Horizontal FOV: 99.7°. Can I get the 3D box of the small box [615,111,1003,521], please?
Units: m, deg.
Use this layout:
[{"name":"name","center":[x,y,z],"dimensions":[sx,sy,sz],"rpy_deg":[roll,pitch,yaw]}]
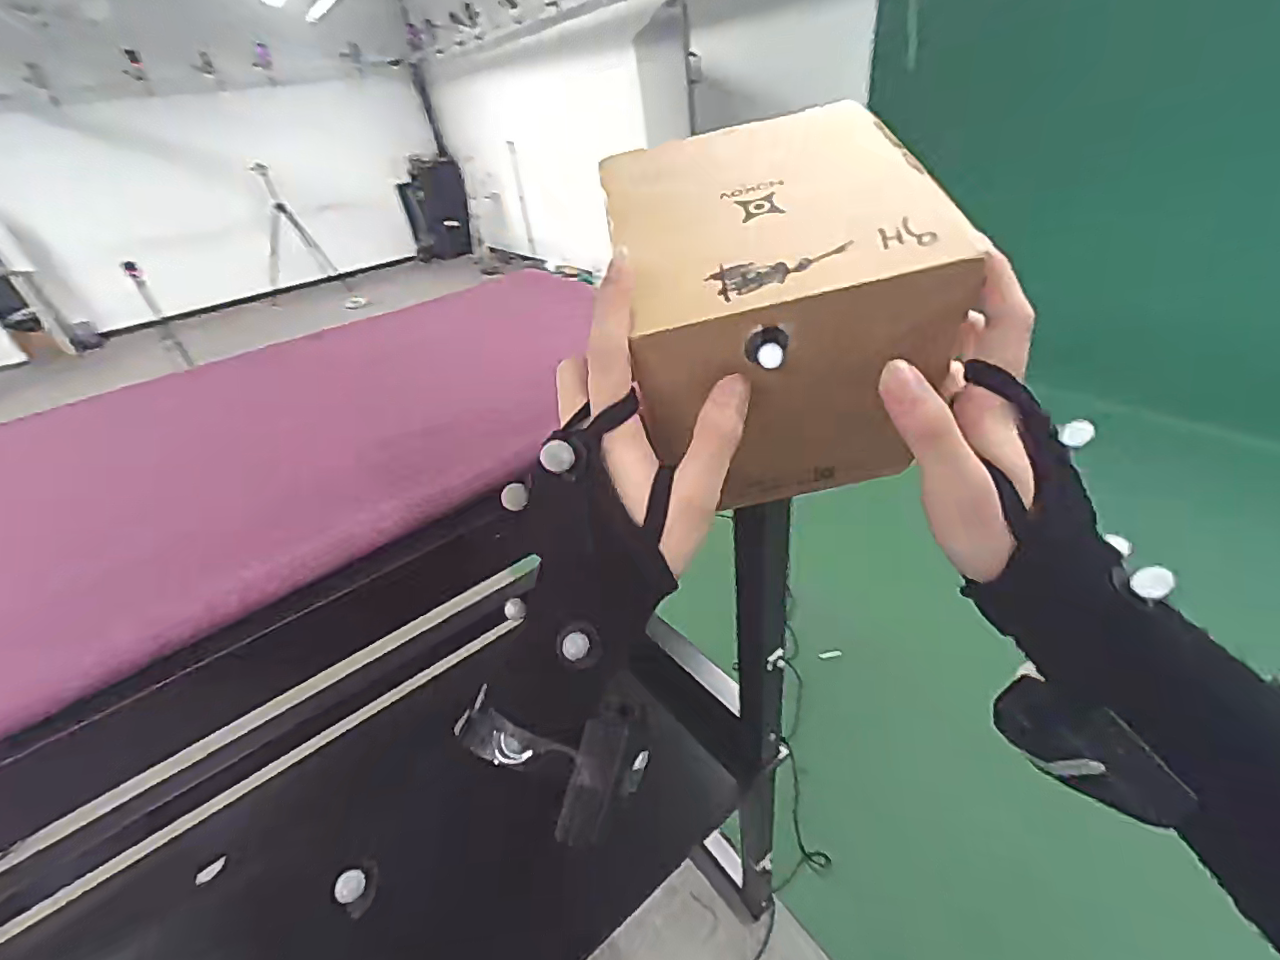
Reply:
[{"name":"small box","center":[0.085,-0.098,0.354],"dimensions":[0.168,0.176,0.179],"rpy_deg":[-12,54,6]}]
